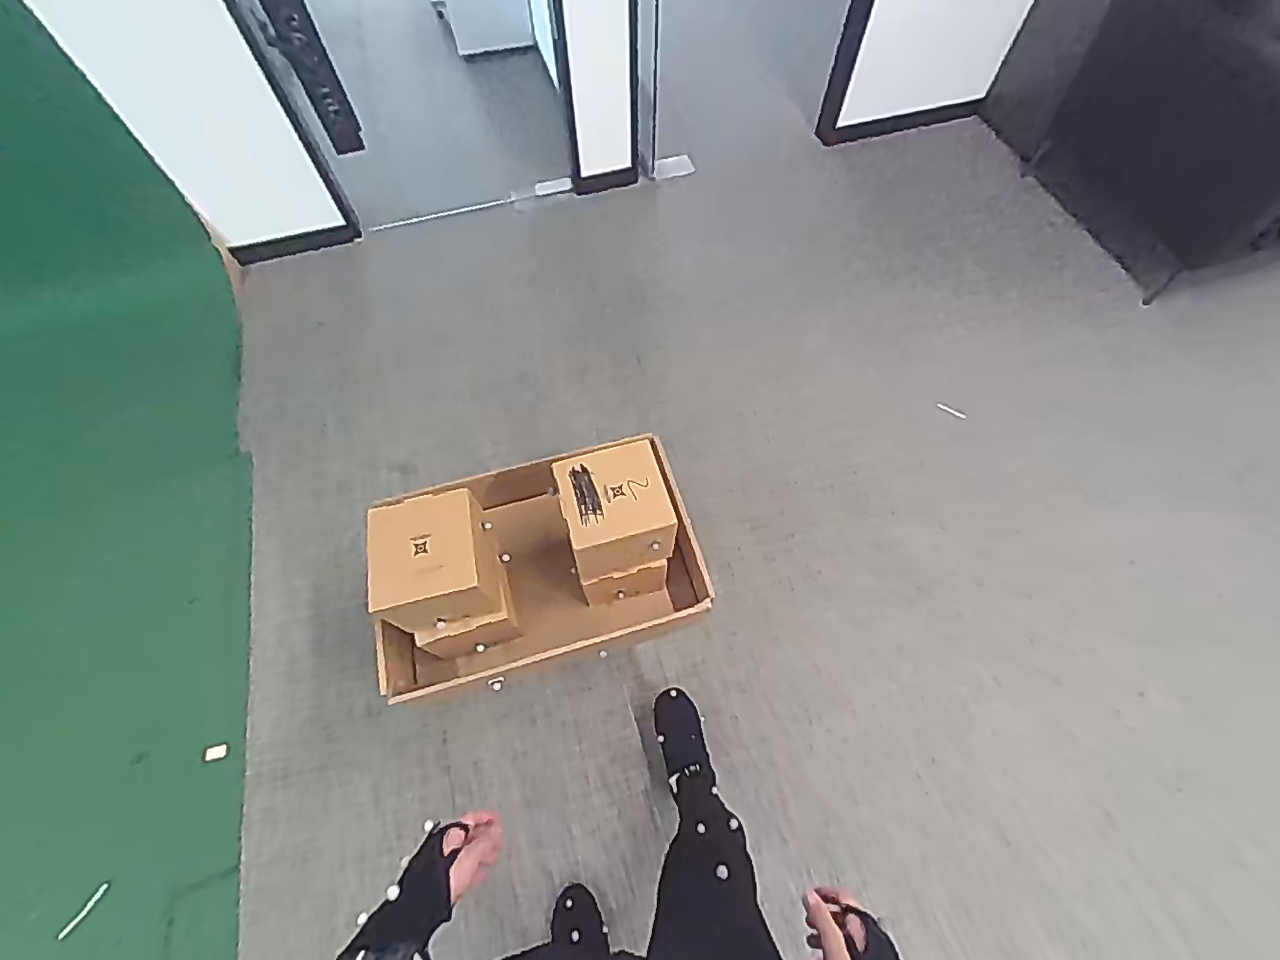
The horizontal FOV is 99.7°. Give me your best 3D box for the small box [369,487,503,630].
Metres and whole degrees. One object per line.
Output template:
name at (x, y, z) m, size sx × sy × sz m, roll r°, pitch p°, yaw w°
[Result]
small box at (-0.341, 0.137, 0.922) m, size 0.168 × 0.176 × 0.179 m, roll -12°, pitch 63°, yaw -5°
